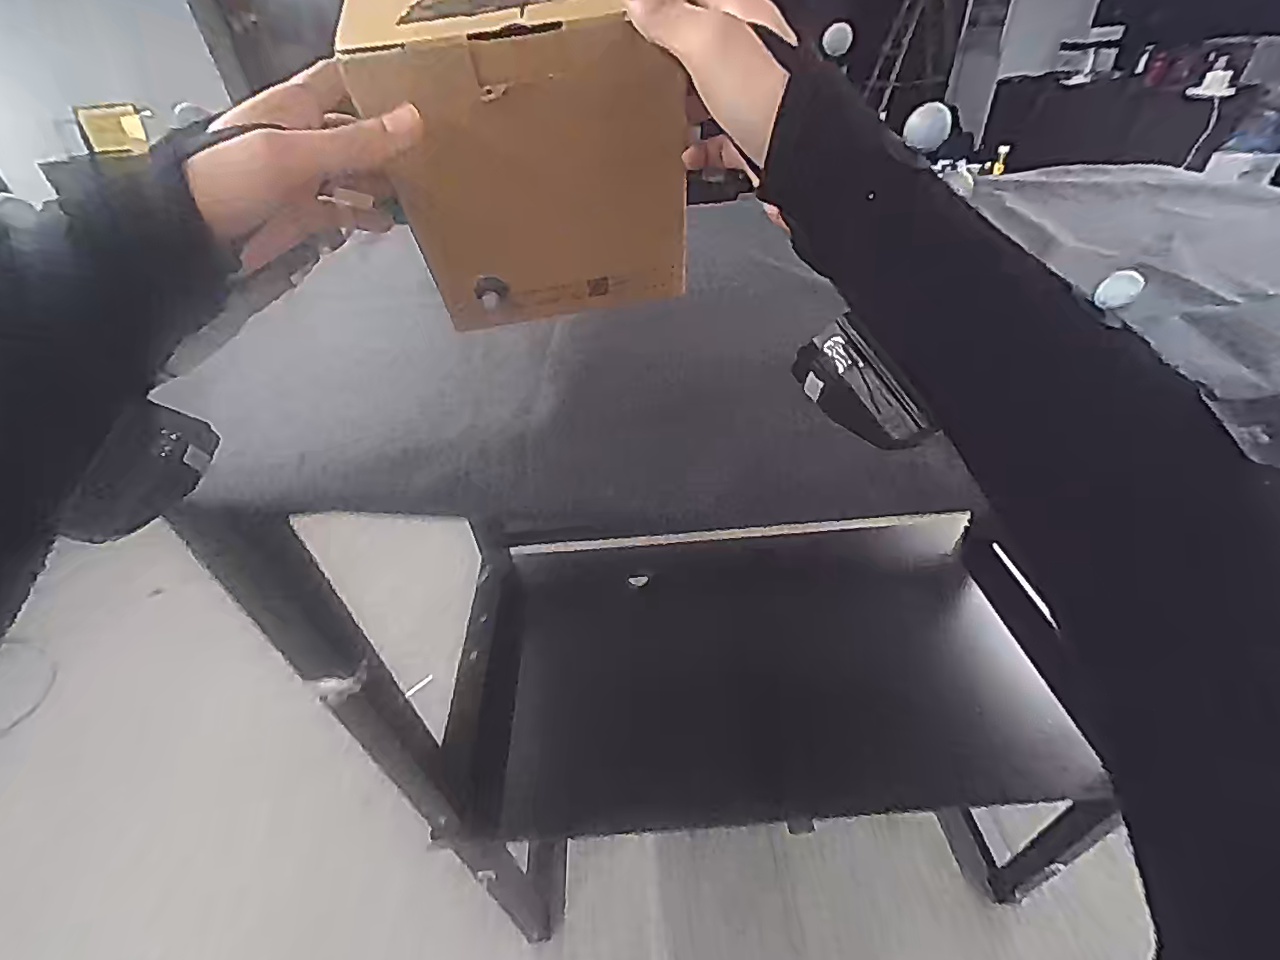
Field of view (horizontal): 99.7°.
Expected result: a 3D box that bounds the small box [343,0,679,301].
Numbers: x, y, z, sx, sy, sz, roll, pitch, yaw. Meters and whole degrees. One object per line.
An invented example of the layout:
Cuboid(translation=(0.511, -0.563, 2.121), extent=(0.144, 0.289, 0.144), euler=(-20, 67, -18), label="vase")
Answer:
Cuboid(translation=(-0.068, -0.240, 0.365), extent=(0.168, 0.176, 0.179), euler=(-10, 57, -3), label="small box")
